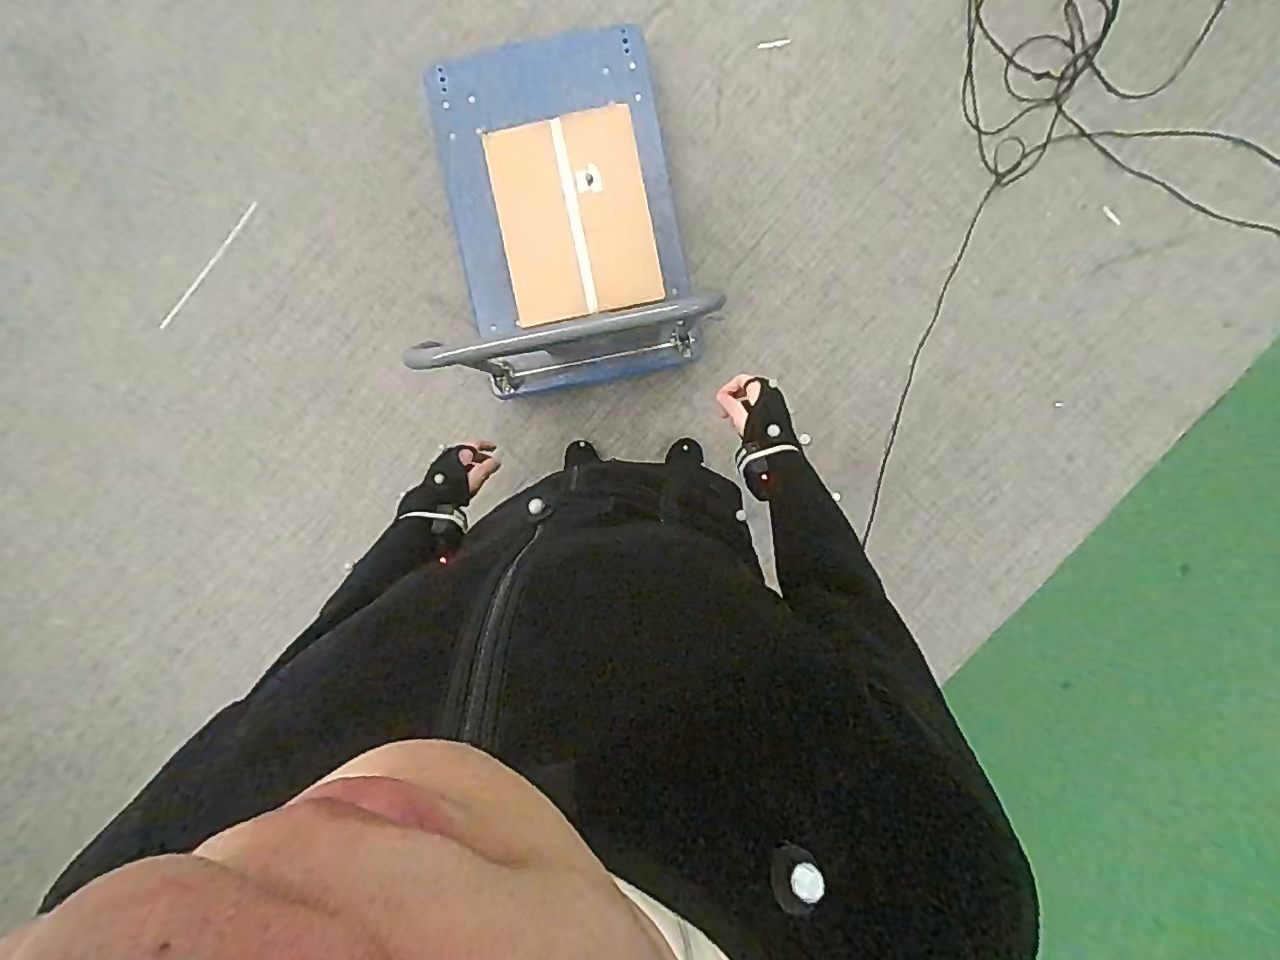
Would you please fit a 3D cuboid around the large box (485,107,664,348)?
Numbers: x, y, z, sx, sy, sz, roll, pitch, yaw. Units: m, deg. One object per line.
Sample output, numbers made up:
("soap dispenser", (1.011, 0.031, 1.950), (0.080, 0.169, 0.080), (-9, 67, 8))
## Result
("large box", (-0.135, -0.565, 1.290), (0.320, 0.320, 0.408), (-11, 94, 0))
